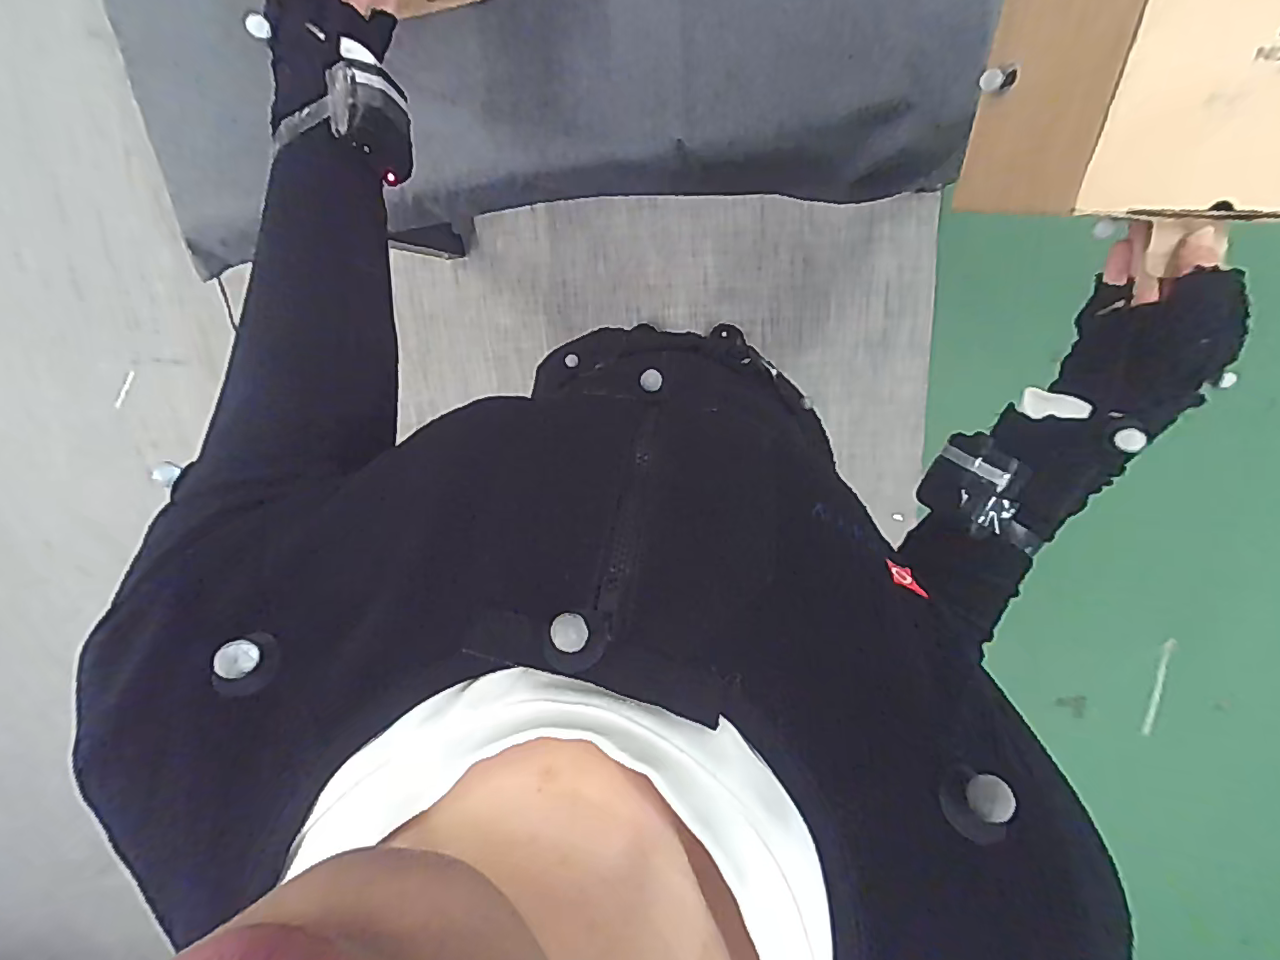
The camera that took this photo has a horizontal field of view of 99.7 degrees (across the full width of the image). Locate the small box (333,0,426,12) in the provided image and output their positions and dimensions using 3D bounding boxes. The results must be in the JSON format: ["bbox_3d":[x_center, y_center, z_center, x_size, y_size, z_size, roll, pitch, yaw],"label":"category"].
[{"bbox_3d":[-0.258,-0.567,0.485,0.168,0.176,0.179,-7,106,7],"label":"small box"}]
